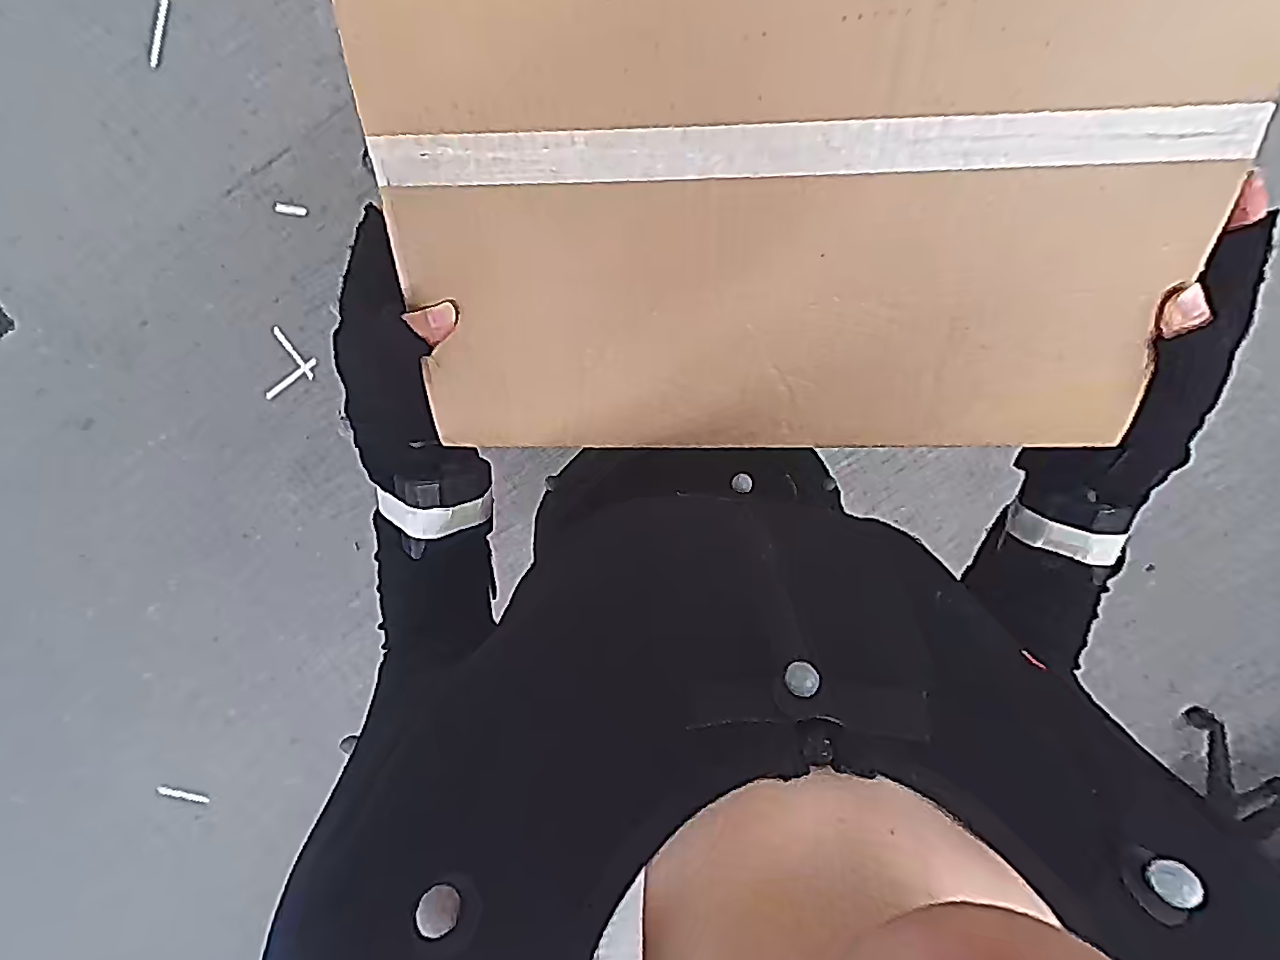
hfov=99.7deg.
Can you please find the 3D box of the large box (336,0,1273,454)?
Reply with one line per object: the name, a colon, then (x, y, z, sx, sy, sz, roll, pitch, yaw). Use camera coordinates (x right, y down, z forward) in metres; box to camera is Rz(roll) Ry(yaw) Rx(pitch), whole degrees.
large box: (0.074, -0.229, 0.390, 0.408, 0.320, 0.320, -1, 120, 3)
